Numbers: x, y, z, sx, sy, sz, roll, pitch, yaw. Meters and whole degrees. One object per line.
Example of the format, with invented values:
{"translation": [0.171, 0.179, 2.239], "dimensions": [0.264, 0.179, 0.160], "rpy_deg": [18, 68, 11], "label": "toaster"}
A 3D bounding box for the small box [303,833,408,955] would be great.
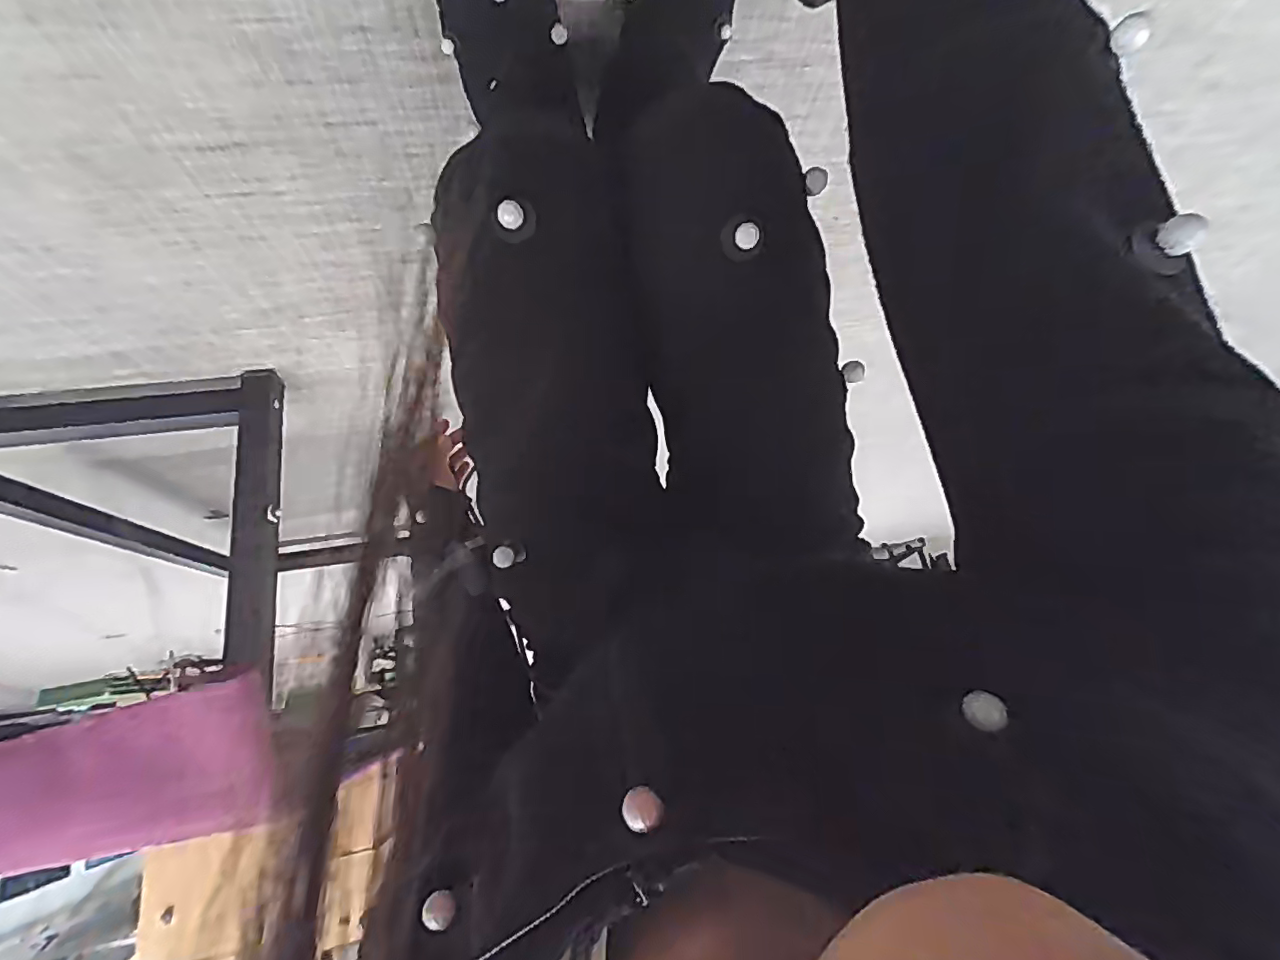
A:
{"translation": [-0.639, 0.919, 1.220], "dimensions": [0.179, 0.176, 0.168], "rpy_deg": [-7, 162, -10], "label": "small box"}

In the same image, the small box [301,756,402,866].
{"translation": [-0.674, 0.766, 1.273], "dimensions": [0.168, 0.176, 0.179], "rpy_deg": [-8, 161, -10], "label": "small box"}

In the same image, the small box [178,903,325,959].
{"translation": [-0.590, 0.775, 0.810], "dimensions": [0.168, 0.176, 0.179], "rpy_deg": [-7, 162, -11], "label": "small box"}
